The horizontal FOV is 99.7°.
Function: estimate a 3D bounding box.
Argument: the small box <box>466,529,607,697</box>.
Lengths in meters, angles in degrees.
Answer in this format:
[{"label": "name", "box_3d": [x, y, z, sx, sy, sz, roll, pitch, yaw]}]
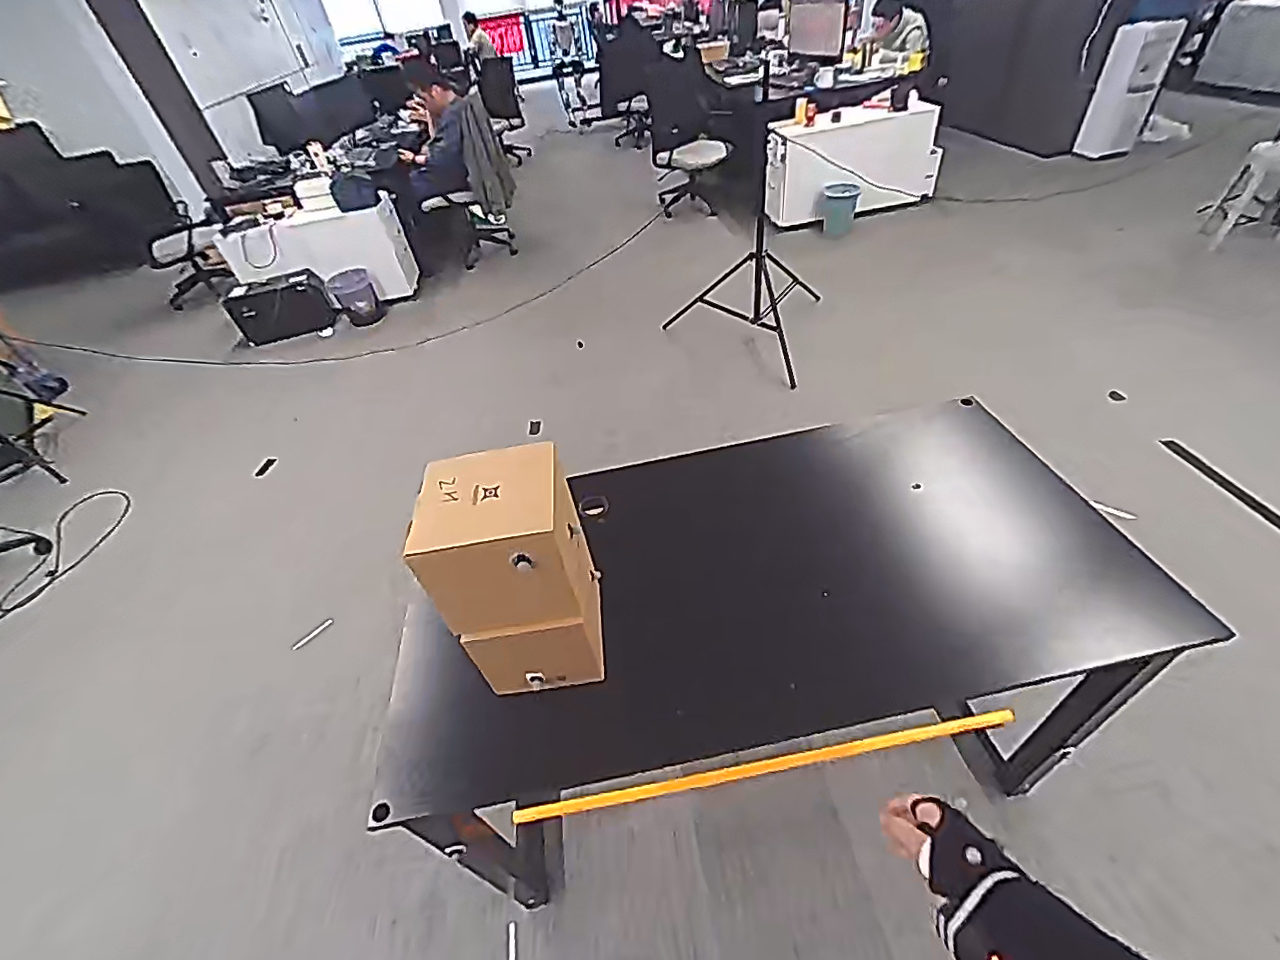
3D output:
[{"label": "small box", "box_3d": [-0.147, 0.202, 0.824, 0.168, 0.176, 0.179, -10, 44, 1]}]

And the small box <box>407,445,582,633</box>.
[{"label": "small box", "box_3d": [-0.174, 0.079, 0.716, 0.179, 0.176, 0.168, -10, 42, 1]}]
